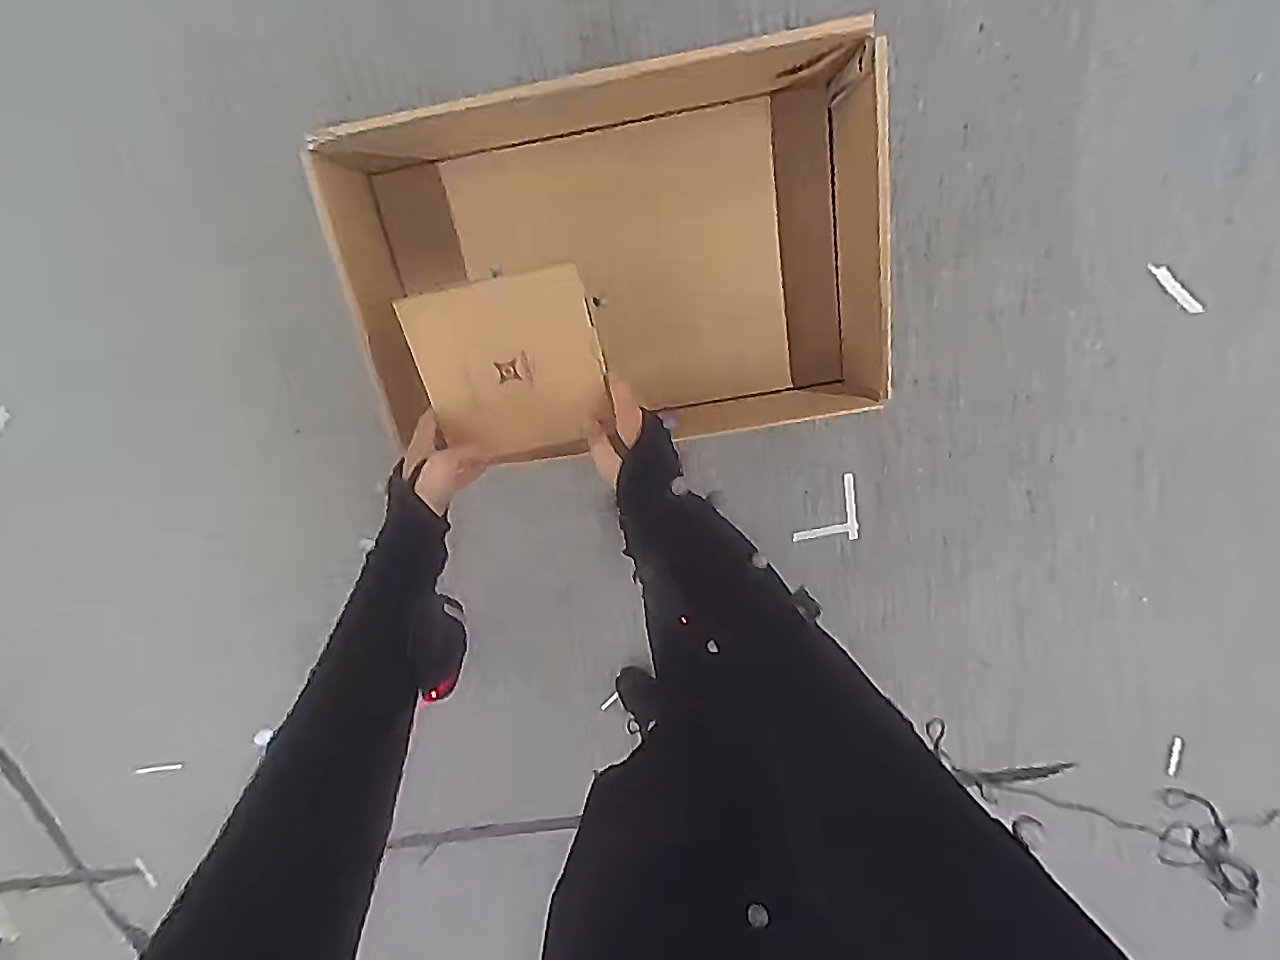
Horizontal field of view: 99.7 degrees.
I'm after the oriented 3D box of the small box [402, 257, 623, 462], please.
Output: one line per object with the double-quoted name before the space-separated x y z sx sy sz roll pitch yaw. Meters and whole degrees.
"small box" -0.121 -0.140 0.590 0.179 0.176 0.168 -12 113 3
